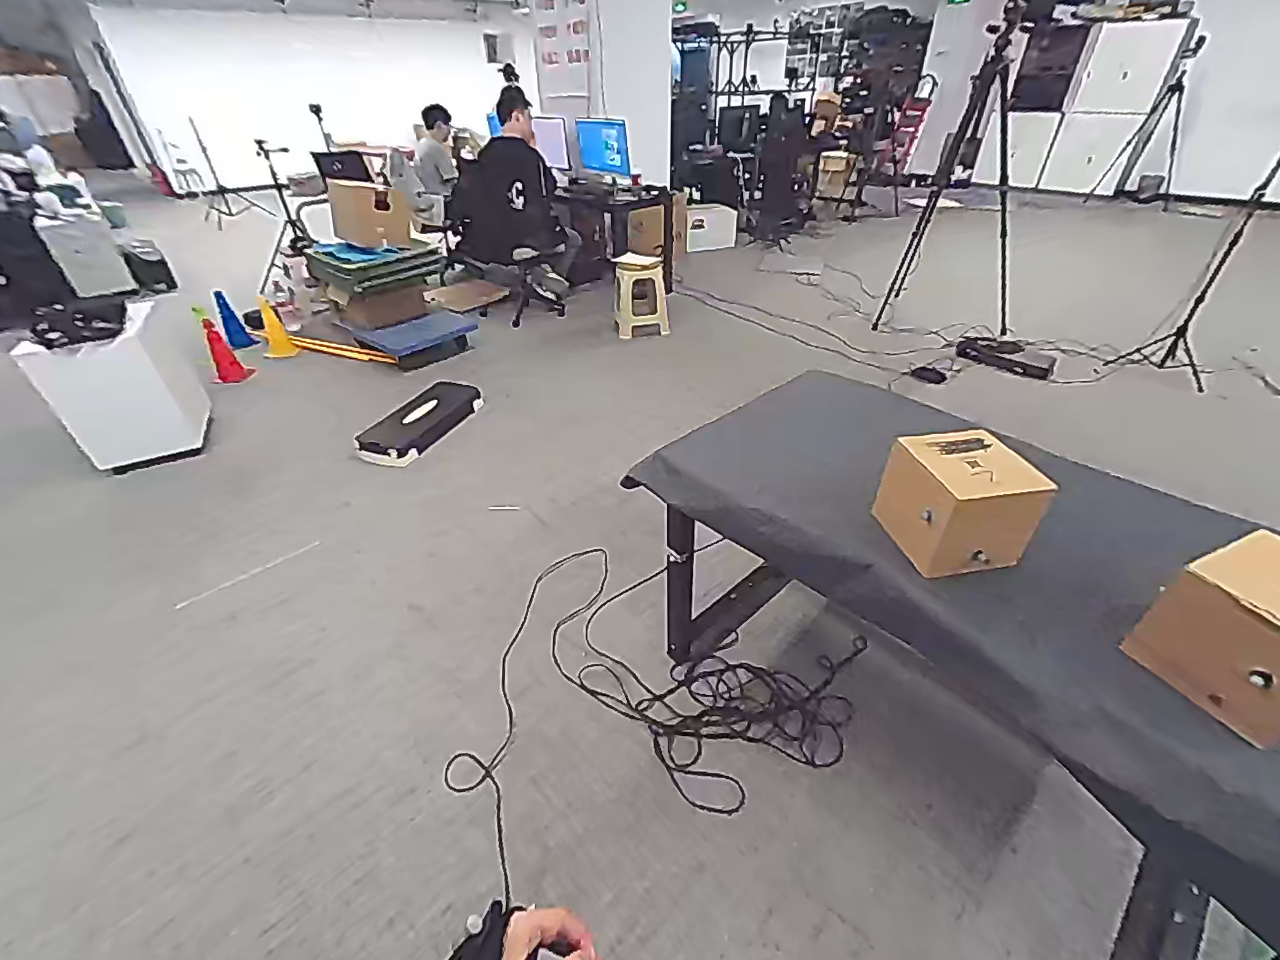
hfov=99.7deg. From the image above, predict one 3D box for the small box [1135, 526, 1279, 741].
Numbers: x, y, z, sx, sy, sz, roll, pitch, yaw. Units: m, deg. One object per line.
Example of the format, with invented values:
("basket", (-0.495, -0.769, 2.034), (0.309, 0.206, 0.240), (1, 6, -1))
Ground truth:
("small box", (0.786, 0.190, 0.681), (0.179, 0.176, 0.168), (-15, 38, -19))
